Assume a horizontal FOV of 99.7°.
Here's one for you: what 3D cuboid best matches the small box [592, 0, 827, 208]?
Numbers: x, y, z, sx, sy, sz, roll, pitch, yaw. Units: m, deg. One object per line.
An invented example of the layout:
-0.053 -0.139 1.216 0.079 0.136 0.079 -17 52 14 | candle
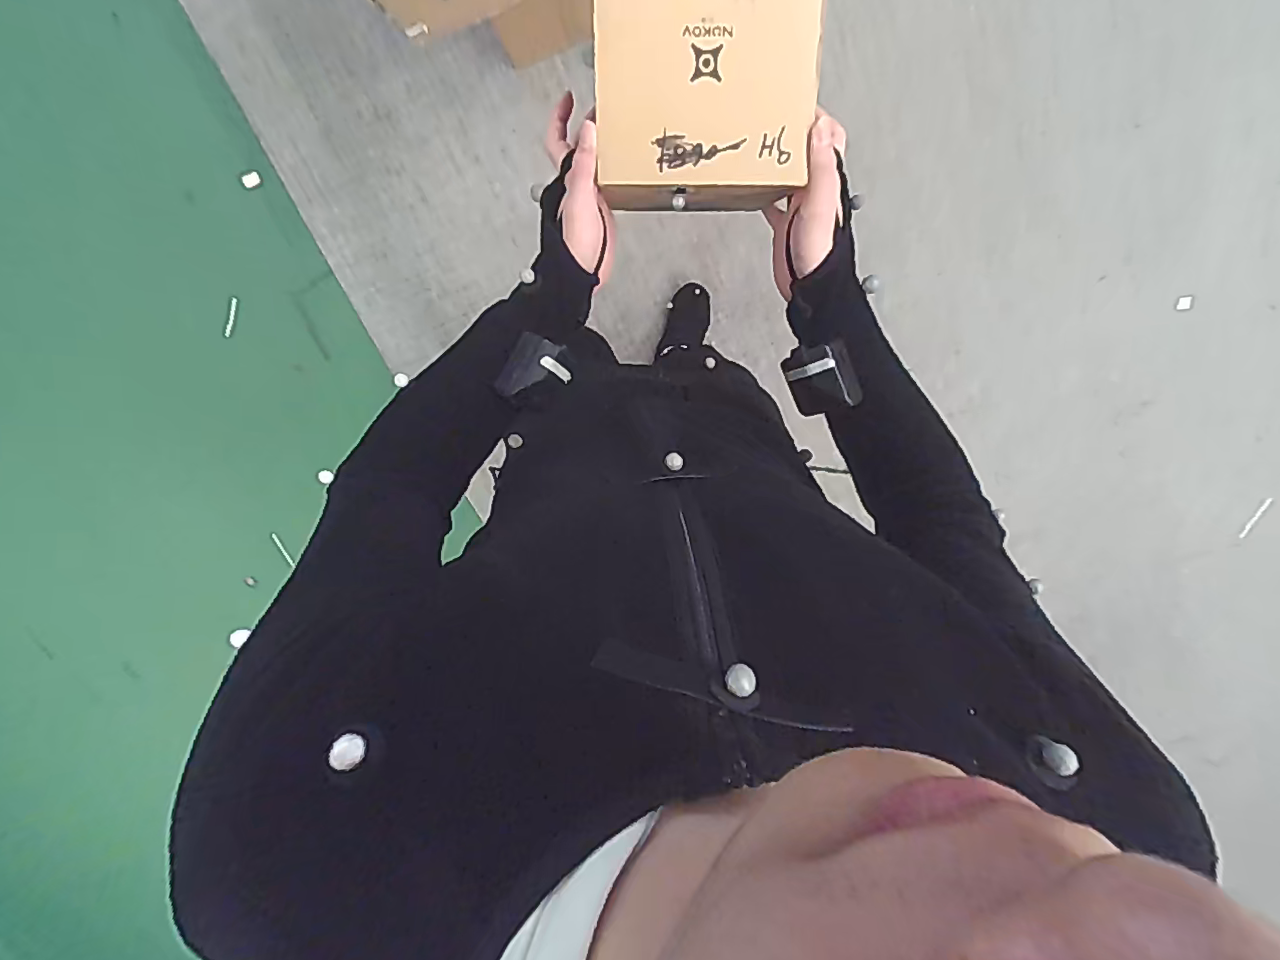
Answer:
0.045 -0.338 0.452 0.168 0.176 0.179 0 110 -1 | small box
